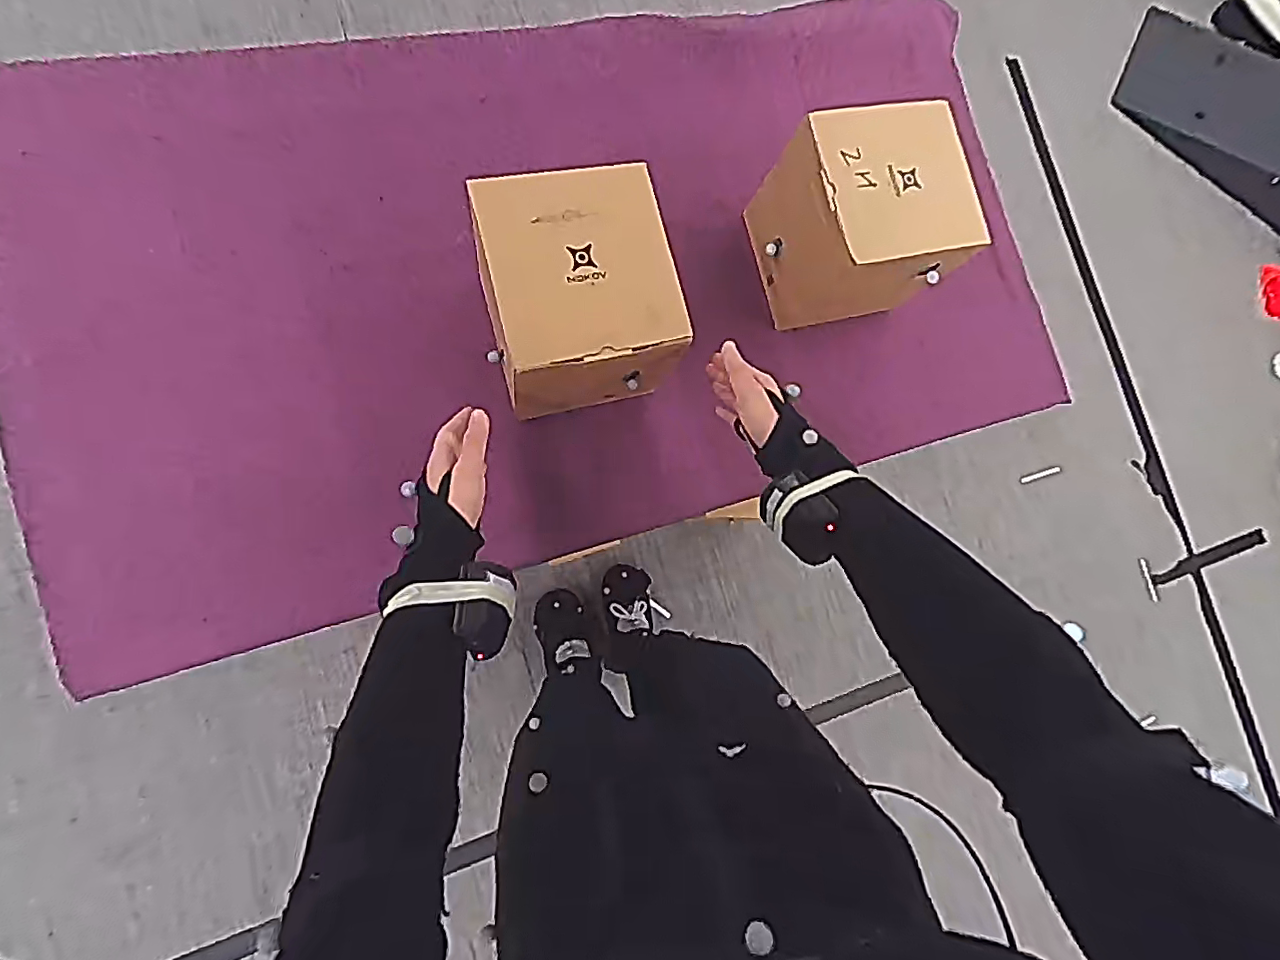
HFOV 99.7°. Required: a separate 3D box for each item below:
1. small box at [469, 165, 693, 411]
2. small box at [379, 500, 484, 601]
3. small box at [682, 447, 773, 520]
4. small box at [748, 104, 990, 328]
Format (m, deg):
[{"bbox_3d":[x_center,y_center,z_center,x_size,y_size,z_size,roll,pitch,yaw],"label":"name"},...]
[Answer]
[{"bbox_3d":[-0.066,-0.178,0.551,0.168,0.176,0.179,-14,85,-14],"label":"small box"},{"bbox_3d":[-0.446,0.150,1.181,0.168,0.176,0.179,-15,86,-14],"label":"small box"},{"bbox_3d":[0.213,0.013,1.341,0.179,0.176,0.168,1,84,-11],"label":"small box"},{"bbox_3d":[0.253,-0.296,0.632,0.179,0.176,0.168,-14,86,-13],"label":"small box"}]
